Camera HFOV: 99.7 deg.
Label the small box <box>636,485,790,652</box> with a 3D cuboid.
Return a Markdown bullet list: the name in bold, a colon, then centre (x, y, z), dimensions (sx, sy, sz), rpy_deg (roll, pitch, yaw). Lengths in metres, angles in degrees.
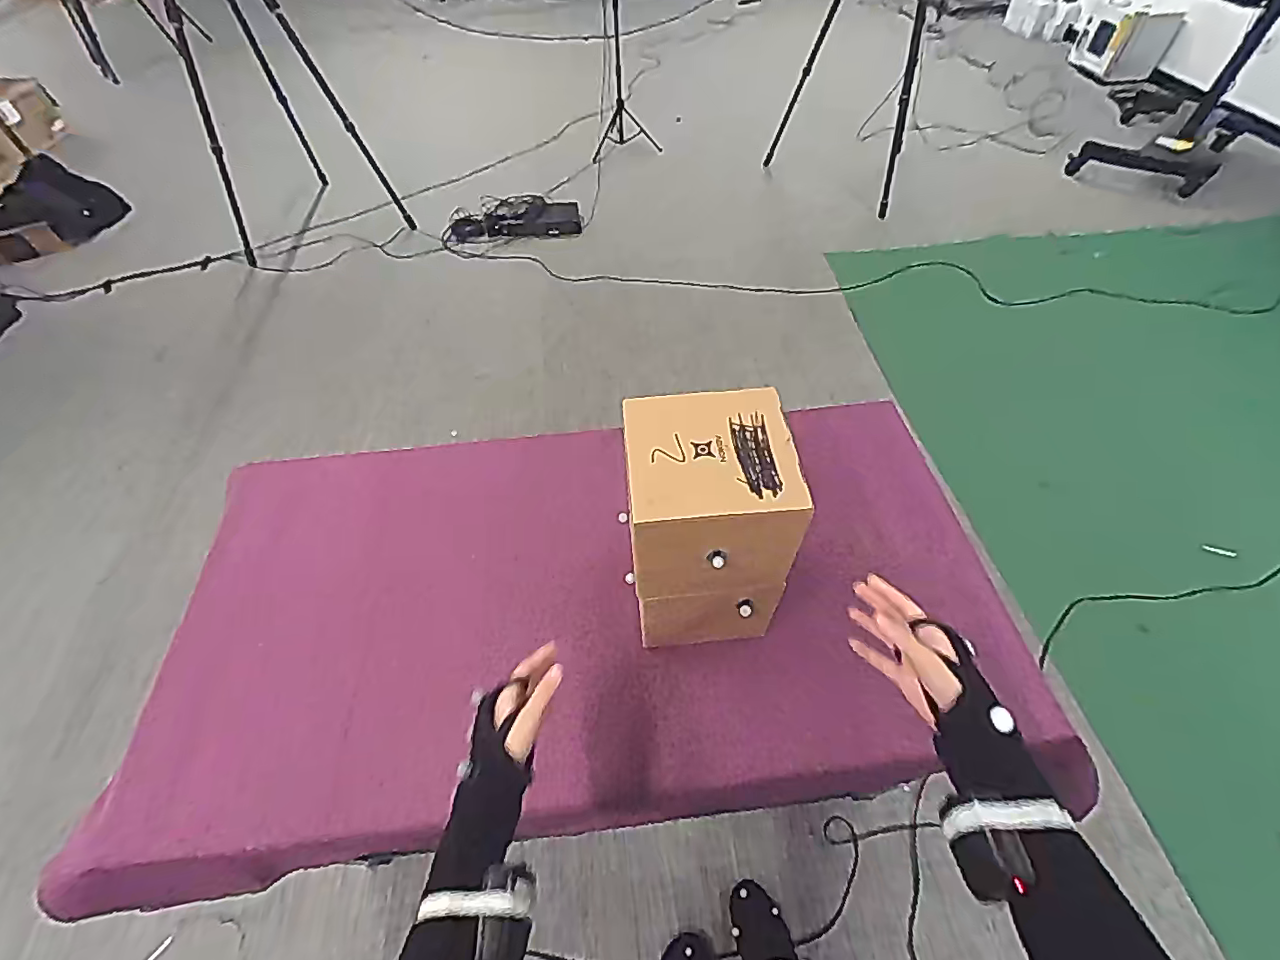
- **small box**: centre (0.089, 0.126, 0.751), dimensions (0.179, 0.176, 0.168), rpy_deg (-6, 52, -2)
